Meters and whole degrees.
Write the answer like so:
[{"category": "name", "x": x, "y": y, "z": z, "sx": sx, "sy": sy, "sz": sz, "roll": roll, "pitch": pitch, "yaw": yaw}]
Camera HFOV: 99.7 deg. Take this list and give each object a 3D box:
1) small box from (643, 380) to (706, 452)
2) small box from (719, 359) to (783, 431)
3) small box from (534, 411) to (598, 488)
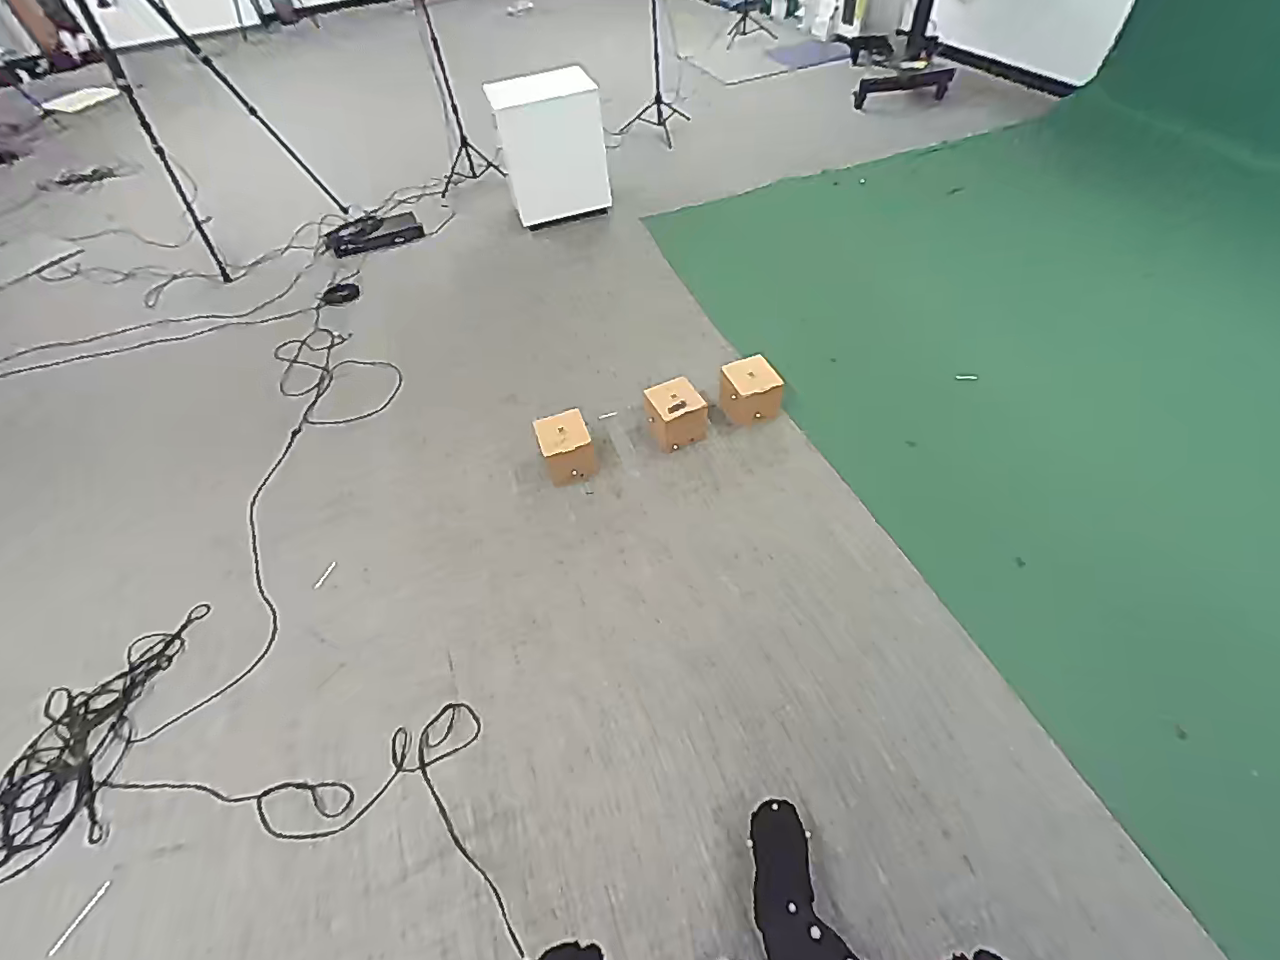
[{"category": "small box", "x": 0.125, "y": -0.223, "z": 1.937, "sx": 0.168, "sy": 0.176, "sz": 0.179, "roll": -22, "pitch": 52, "yaw": -13}, {"category": "small box", "x": 0.400, "y": -0.311, "z": 1.985, "sx": 0.168, "sy": 0.176, "sz": 0.179, "roll": -19, "pitch": 53, "yaw": -10}, {"category": "small box", "x": -0.254, "y": -0.104, "z": 1.872, "sx": 0.168, "sy": 0.176, "sz": 0.179, "roll": -19, "pitch": 53, "yaw": -8}]
